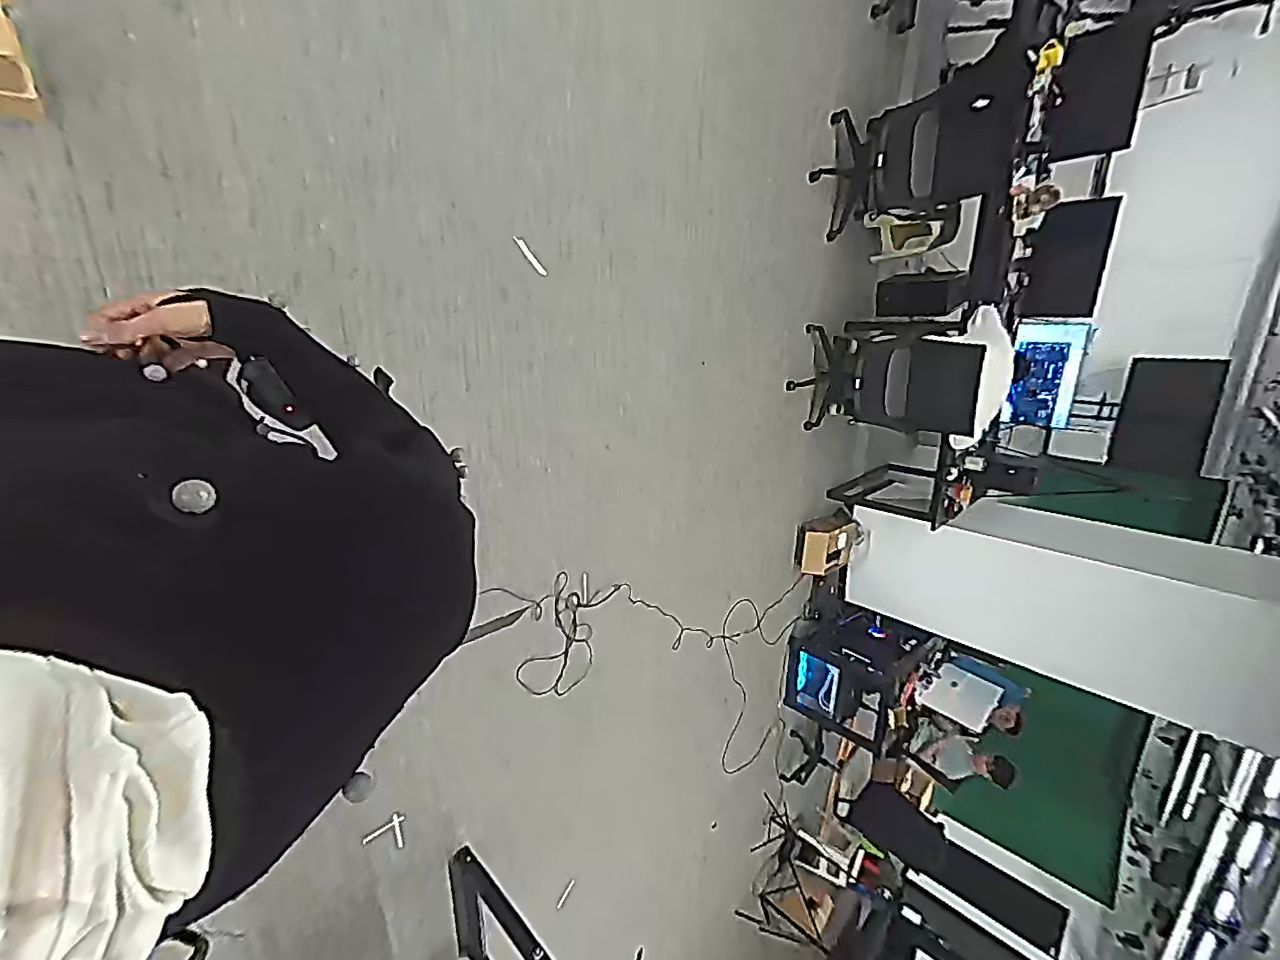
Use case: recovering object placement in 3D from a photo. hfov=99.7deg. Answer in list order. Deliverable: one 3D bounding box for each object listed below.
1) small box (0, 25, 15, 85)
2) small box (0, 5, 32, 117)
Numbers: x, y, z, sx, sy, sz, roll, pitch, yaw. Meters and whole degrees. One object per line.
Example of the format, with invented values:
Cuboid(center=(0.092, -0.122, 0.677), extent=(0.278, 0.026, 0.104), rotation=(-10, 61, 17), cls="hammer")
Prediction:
Cuboid(center=(-1.043, -0.701, 0.770), extent=(0.168, 0.176, 0.179), rotation=(-19, 113, -42), cls="small box")
Cuboid(center=(-1.152, -0.728, 0.891), extent=(0.168, 0.176, 0.179), rotation=(-19, 113, -42), cls="small box")
